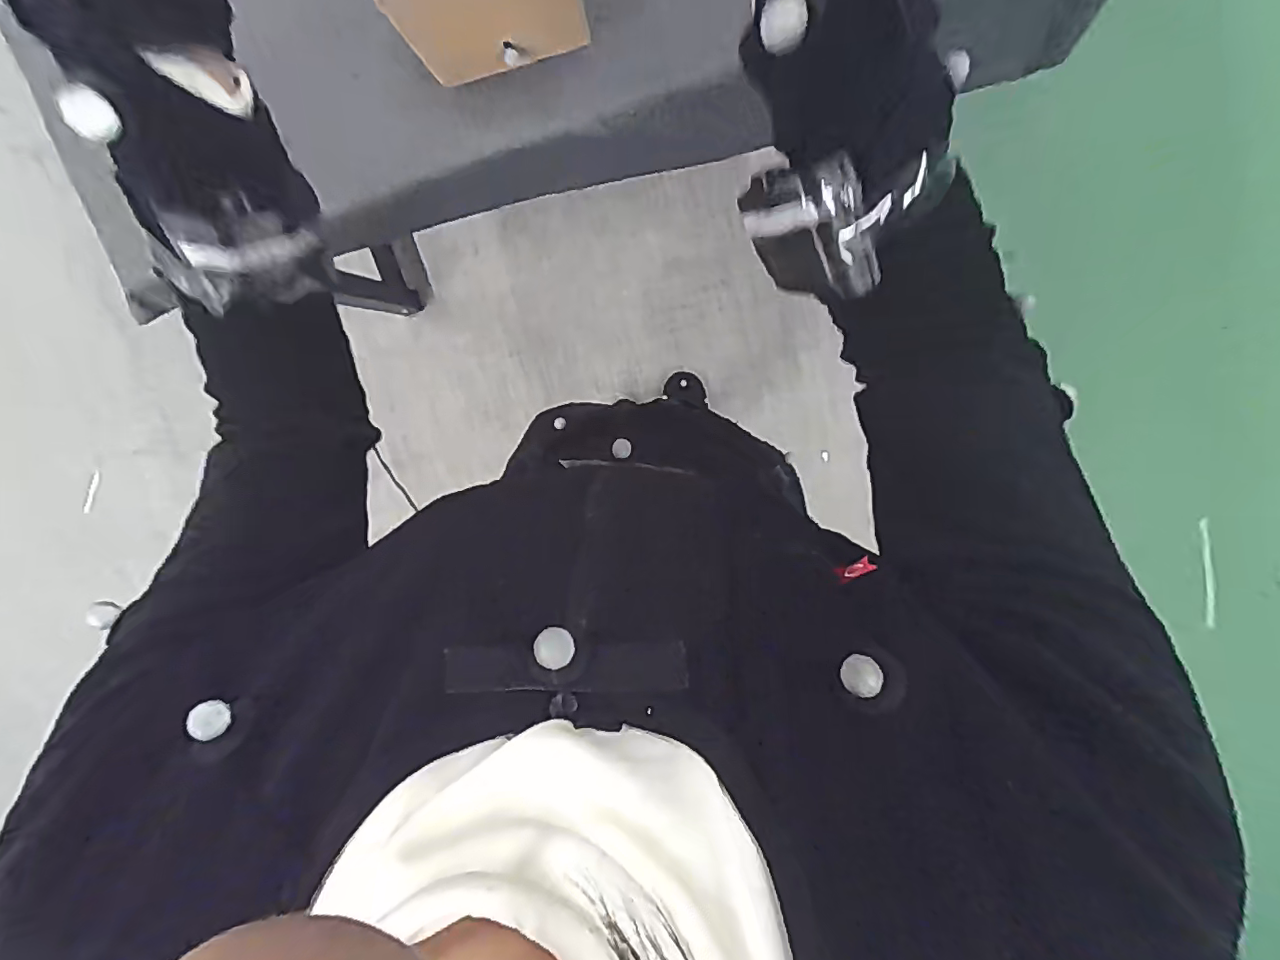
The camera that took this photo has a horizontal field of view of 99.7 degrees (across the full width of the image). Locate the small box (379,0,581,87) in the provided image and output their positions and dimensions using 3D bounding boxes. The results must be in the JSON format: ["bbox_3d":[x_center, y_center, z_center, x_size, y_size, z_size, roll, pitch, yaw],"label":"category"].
[{"bbox_3d":[-0.162,-0.528,0.522,0.179,0.176,0.168,-14,100,5],"label":"small box"}]
